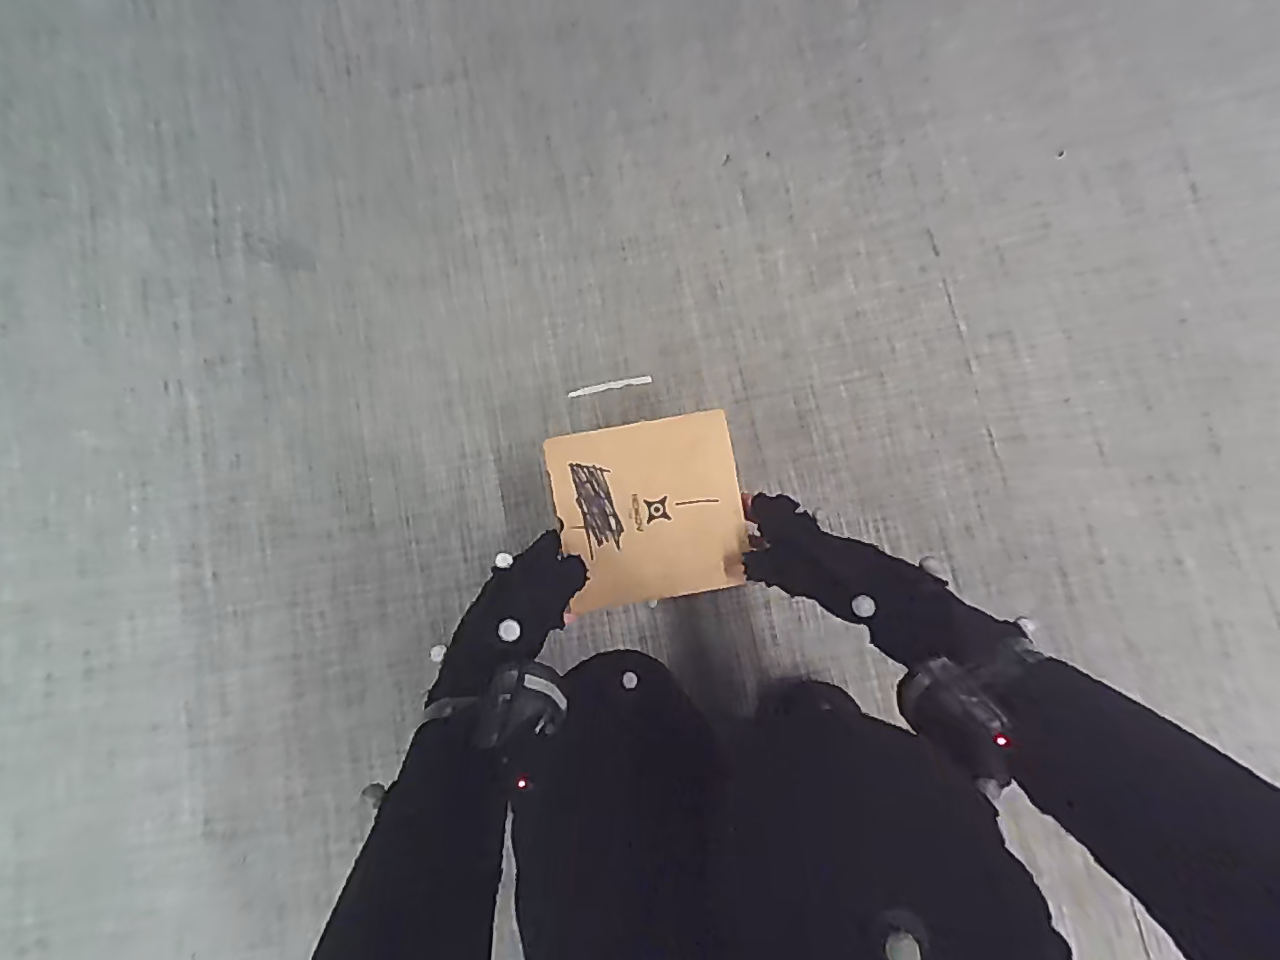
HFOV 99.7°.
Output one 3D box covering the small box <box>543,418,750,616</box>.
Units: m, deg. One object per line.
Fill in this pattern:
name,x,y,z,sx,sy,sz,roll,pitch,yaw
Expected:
small box,0.009,0.040,0.580,0.179,0.176,0.168,-9,86,2
